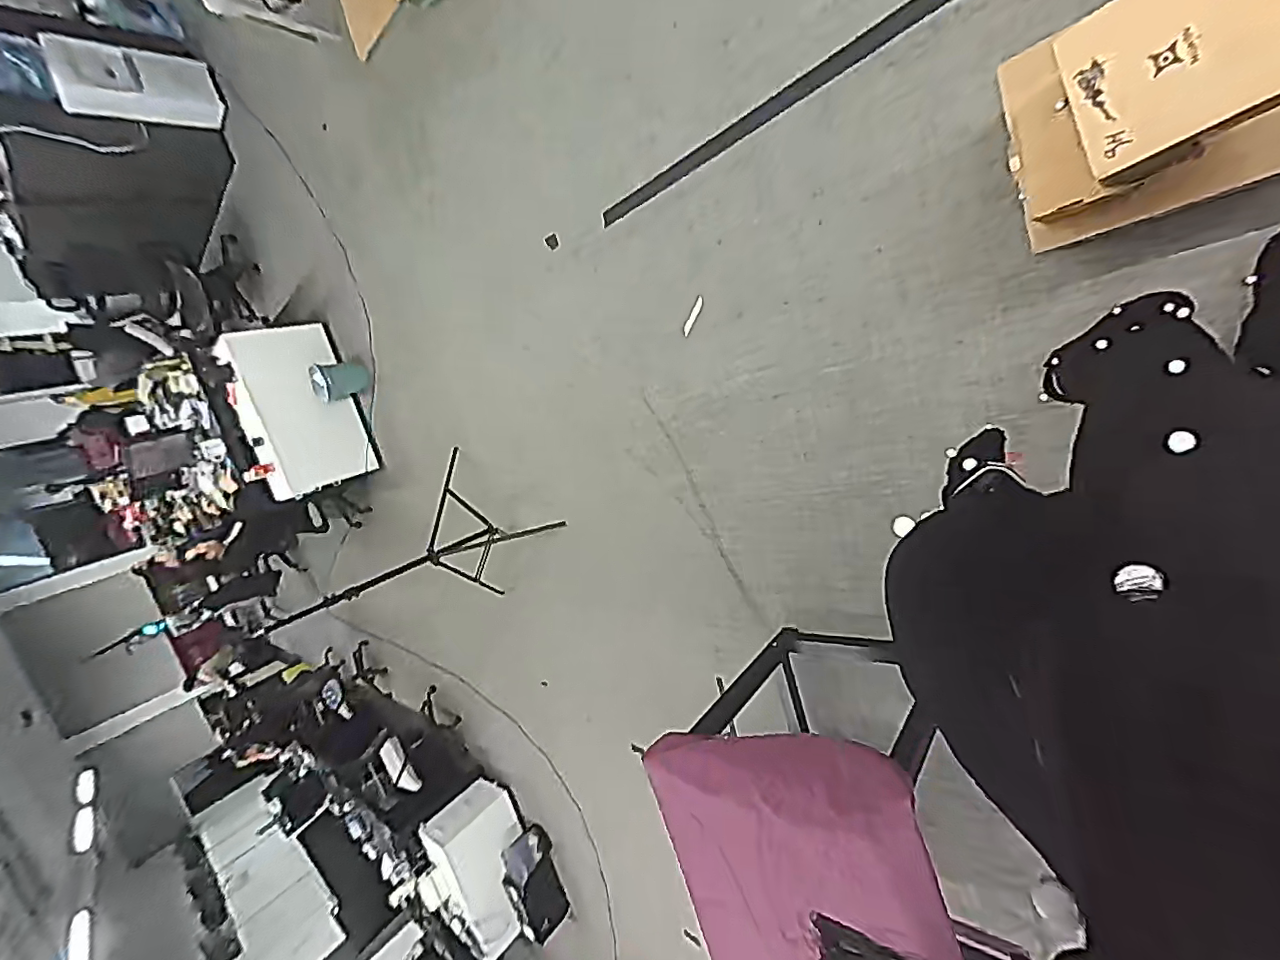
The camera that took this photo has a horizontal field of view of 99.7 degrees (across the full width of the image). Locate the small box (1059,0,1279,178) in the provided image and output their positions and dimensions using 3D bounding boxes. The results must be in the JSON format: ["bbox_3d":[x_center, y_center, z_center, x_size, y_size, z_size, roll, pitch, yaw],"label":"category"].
[{"bbox_3d":[0.596,-0.461,0.593,0.179,0.176,0.168,-17,97,47],"label":"small box"}]

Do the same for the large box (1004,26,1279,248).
[{"bbox_3d":[0.868,-0.606,0.859,0.408,0.320,0.320,-11,102,45],"label":"large box"}]
